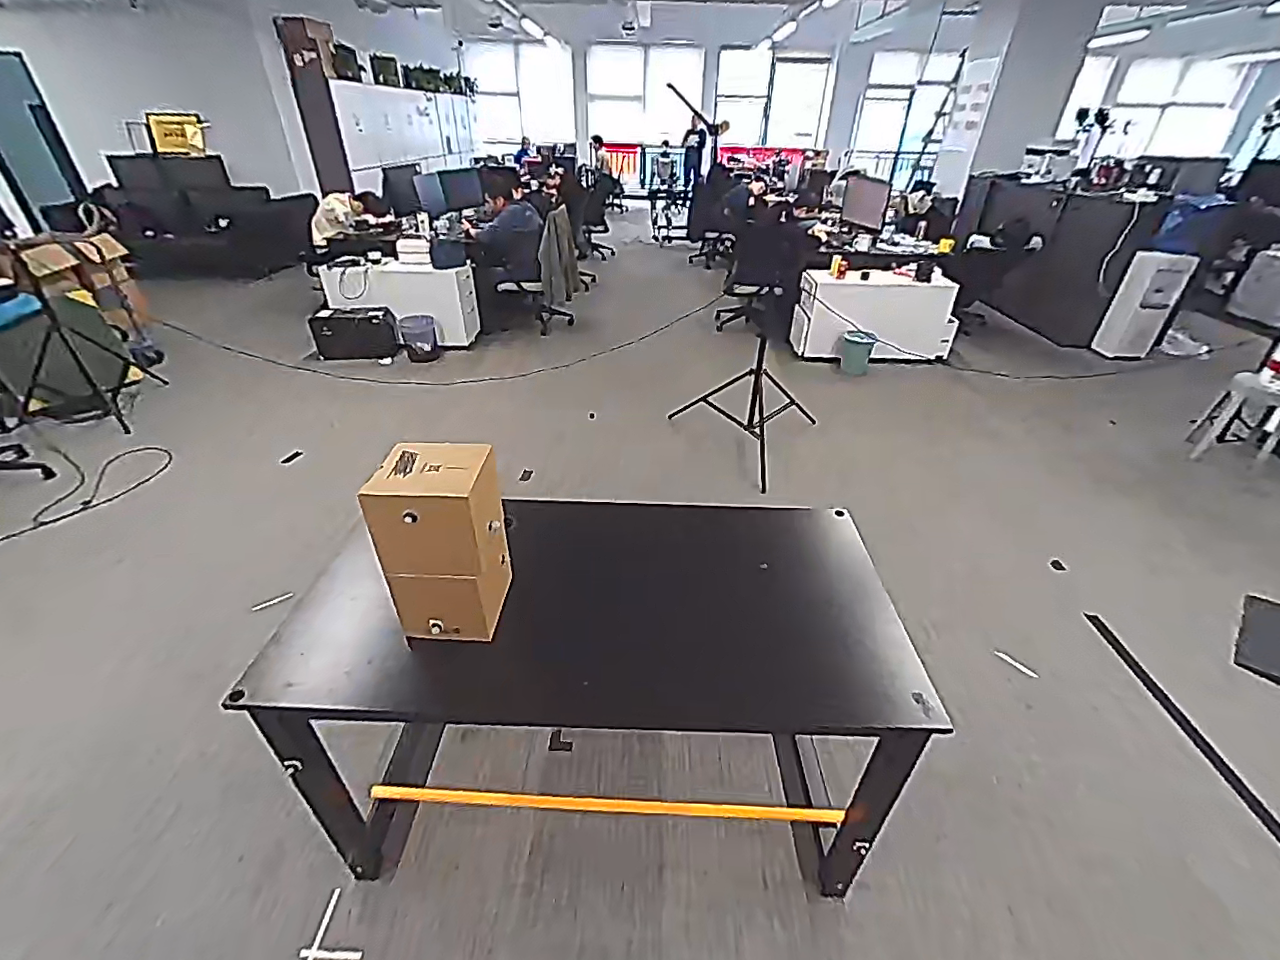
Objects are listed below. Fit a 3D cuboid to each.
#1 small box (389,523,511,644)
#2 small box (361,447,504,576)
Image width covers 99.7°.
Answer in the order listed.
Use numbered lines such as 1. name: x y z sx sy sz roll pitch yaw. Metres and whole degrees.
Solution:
1. small box: -0.353 0.191 1.043 0.168 0.176 0.179 1 34 1
2. small box: -0.351 0.054 0.952 0.179 0.176 0.168 1 33 0
